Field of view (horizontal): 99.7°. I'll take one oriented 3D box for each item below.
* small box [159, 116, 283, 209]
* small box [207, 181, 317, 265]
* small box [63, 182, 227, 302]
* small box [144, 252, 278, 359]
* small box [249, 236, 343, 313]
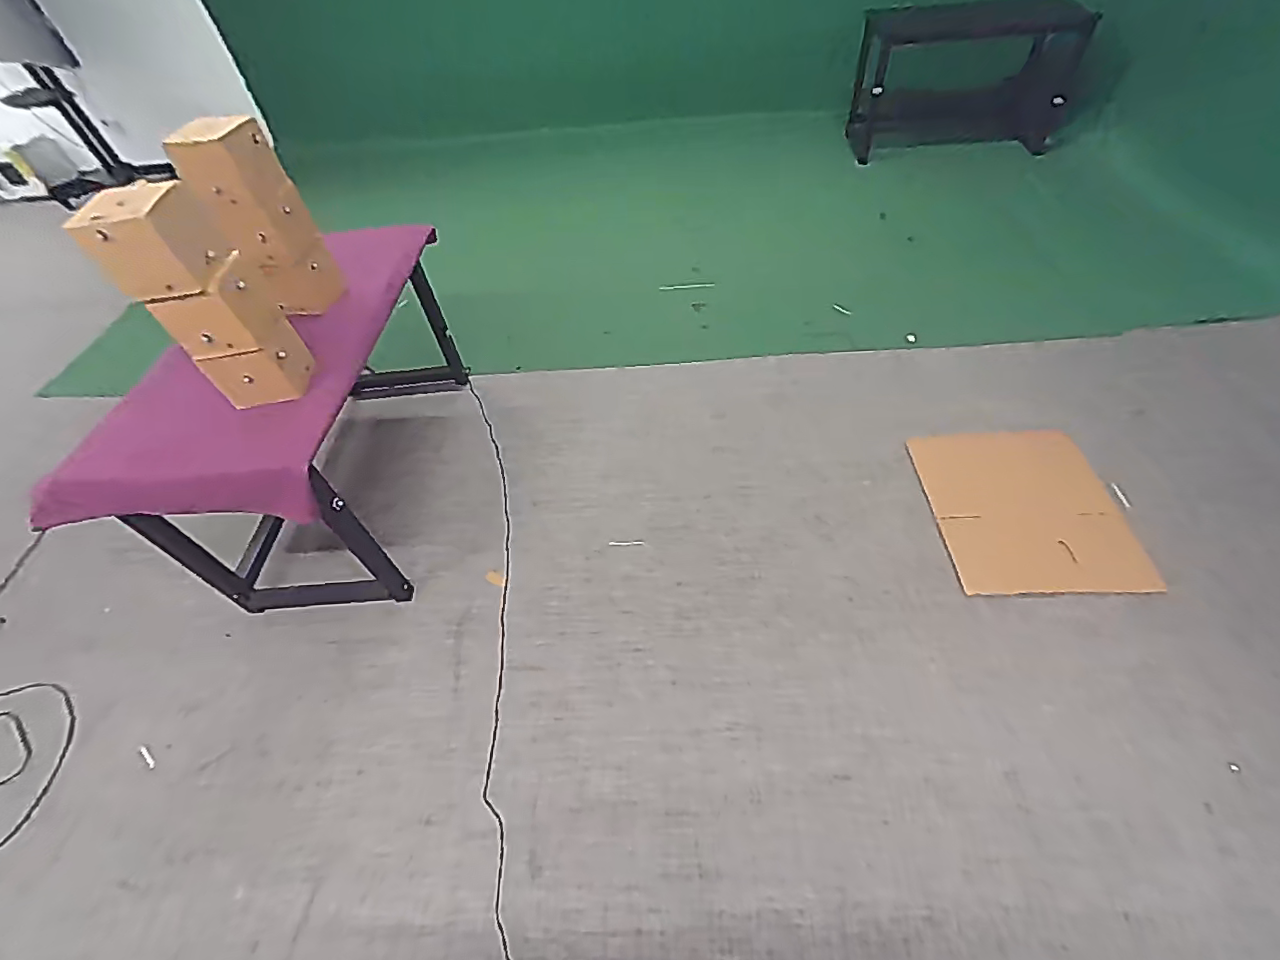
[{"bbox_3d":[-1.100,-0.845,1.442,0.168,0.176,0.179,1,51,6],"label":"small box"},{"bbox_3d":[-1.084,-0.742,1.570,0.168,0.176,0.179,2,51,6],"label":"small box"},{"bbox_3d":[-1.042,-0.509,1.162,0.168,0.176,0.179,-9,50,0],"label":"small box"},{"bbox_3d":[-1.012,-0.415,1.295,0.168,0.176,0.179,-10,51,-1],"label":"small box"},{"bbox_3d":[-1.074,-0.640,1.697,0.168,0.176,0.179,2,50,7],"label":"small box"}]
